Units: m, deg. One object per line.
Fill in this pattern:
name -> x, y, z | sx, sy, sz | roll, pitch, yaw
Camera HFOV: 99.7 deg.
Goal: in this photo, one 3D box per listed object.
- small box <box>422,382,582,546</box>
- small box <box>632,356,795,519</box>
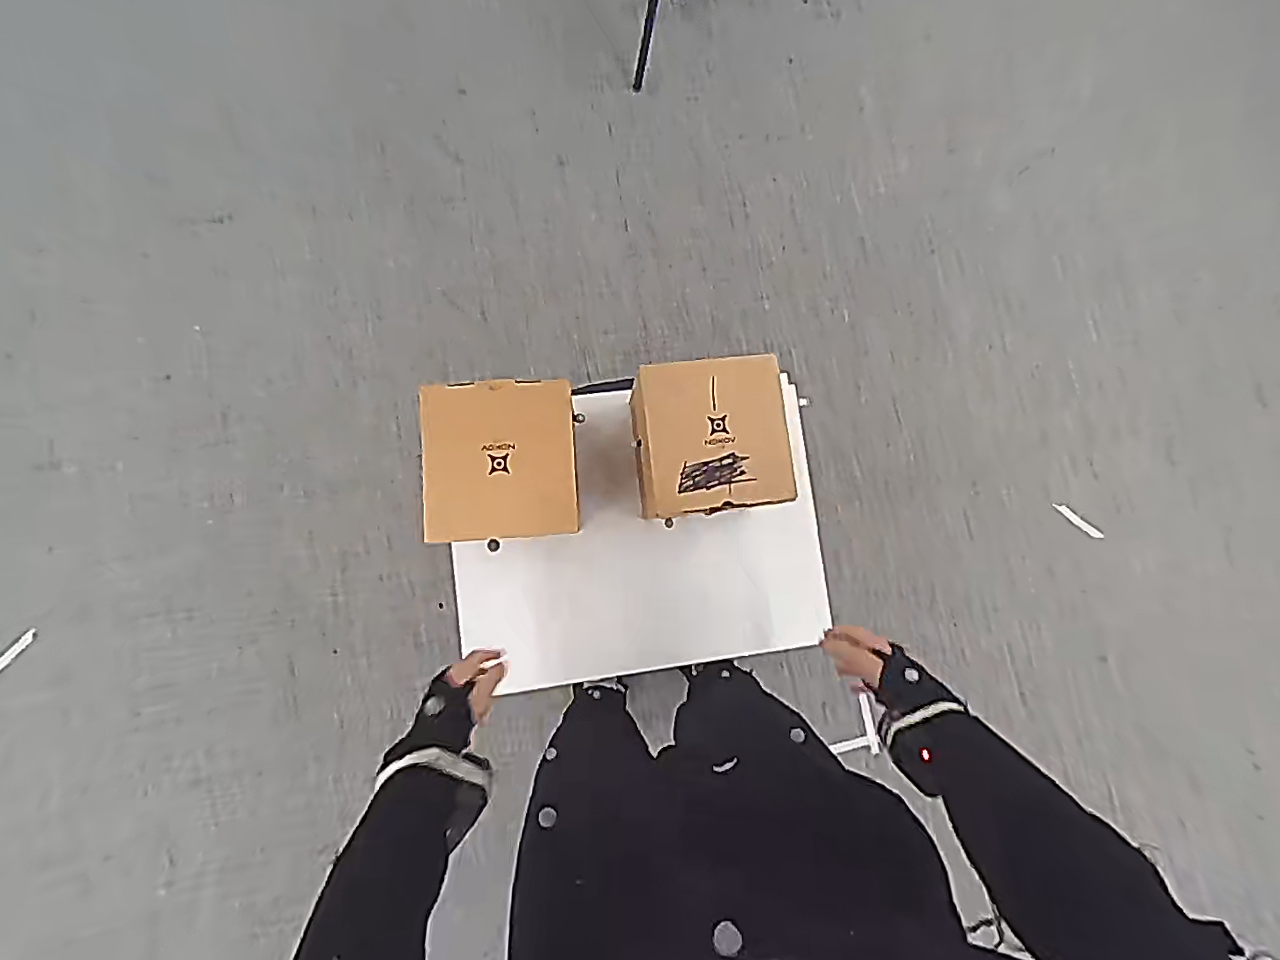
small box -> -0.161, -0.013, 0.673 | 0.168, 0.176, 0.179 | -4, 84, -6
small box -> 0.082, -0.044, 0.696 | 0.168, 0.176, 0.179 | -6, 84, -5
